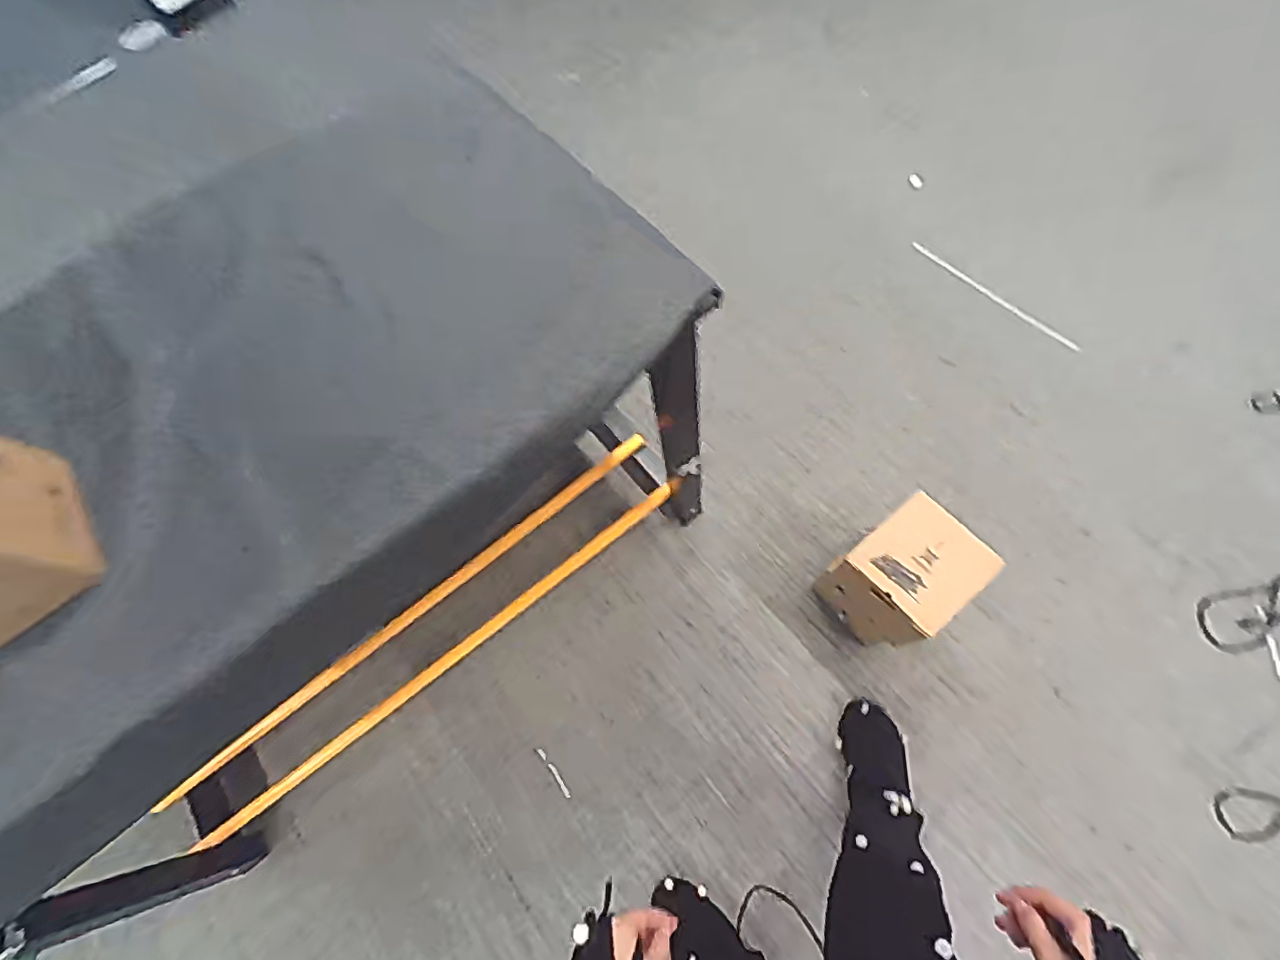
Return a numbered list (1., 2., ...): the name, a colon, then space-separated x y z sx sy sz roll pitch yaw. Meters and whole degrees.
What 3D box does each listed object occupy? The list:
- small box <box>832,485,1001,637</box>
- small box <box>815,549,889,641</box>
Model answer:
1. small box: 0.449 0.146 0.918 0.179 0.176 0.168 -39 69 -10
2. small box: 0.474 0.196 1.072 0.179 0.176 0.168 -37 68 -9
